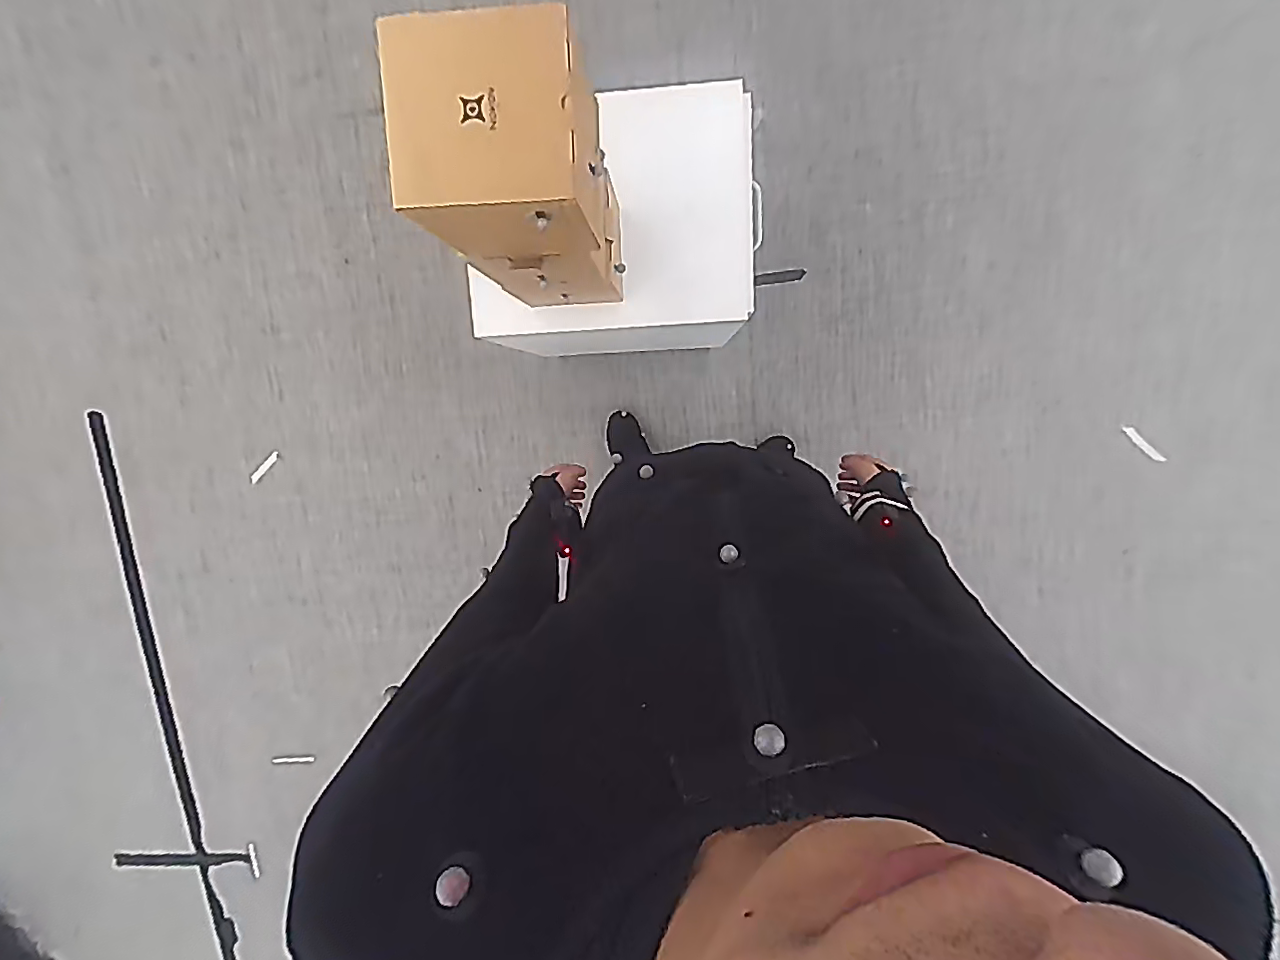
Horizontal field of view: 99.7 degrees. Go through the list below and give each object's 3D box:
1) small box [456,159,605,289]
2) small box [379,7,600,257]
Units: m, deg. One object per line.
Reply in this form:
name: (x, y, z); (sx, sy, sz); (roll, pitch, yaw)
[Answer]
small box: (-0.141, -0.368, 0.730); (0.168, 0.176, 0.179); (0, 98, 4)
small box: (-0.142, -0.342, 0.568); (0.179, 0.176, 0.168); (-2, 98, 3)
